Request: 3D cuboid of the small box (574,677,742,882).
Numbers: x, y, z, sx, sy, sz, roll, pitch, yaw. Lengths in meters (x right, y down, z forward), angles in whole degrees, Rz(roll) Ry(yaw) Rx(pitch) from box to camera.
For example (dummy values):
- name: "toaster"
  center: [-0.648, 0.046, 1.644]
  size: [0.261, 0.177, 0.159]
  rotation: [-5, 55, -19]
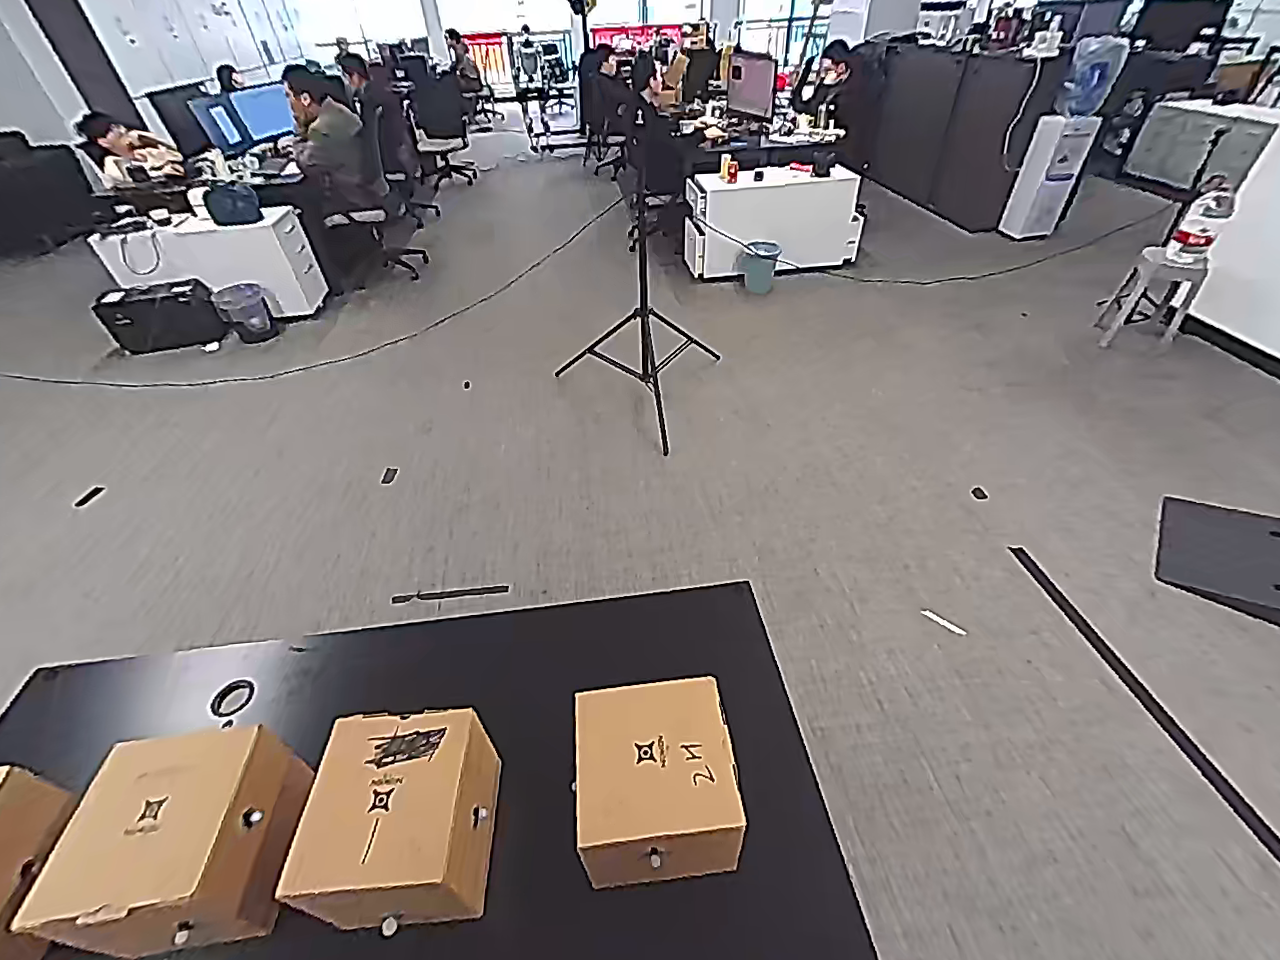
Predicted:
- name: "small box"
  center: [0.018, 0.366, 0.660]
  size: [0.179, 0.176, 0.168]
  rotation: [-5, 42, -3]

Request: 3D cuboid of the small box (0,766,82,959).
- name: "small box"
  center: [-0.779, 0.449, 0.604]
  size: [0.179, 0.176, 0.168]
  rotation: [-7, 41, -7]

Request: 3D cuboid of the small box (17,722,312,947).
- name: "small box"
  center: [-0.520, 0.416, 0.633]
  size: [0.168, 0.176, 0.179]
  rotation: [-6, 41, -6]

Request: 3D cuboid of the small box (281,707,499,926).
- name: "small box"
  center: [-0.271, 0.396, 0.641]
  size: [0.168, 0.176, 0.179]
  rotation: [-4, 42, -1]
